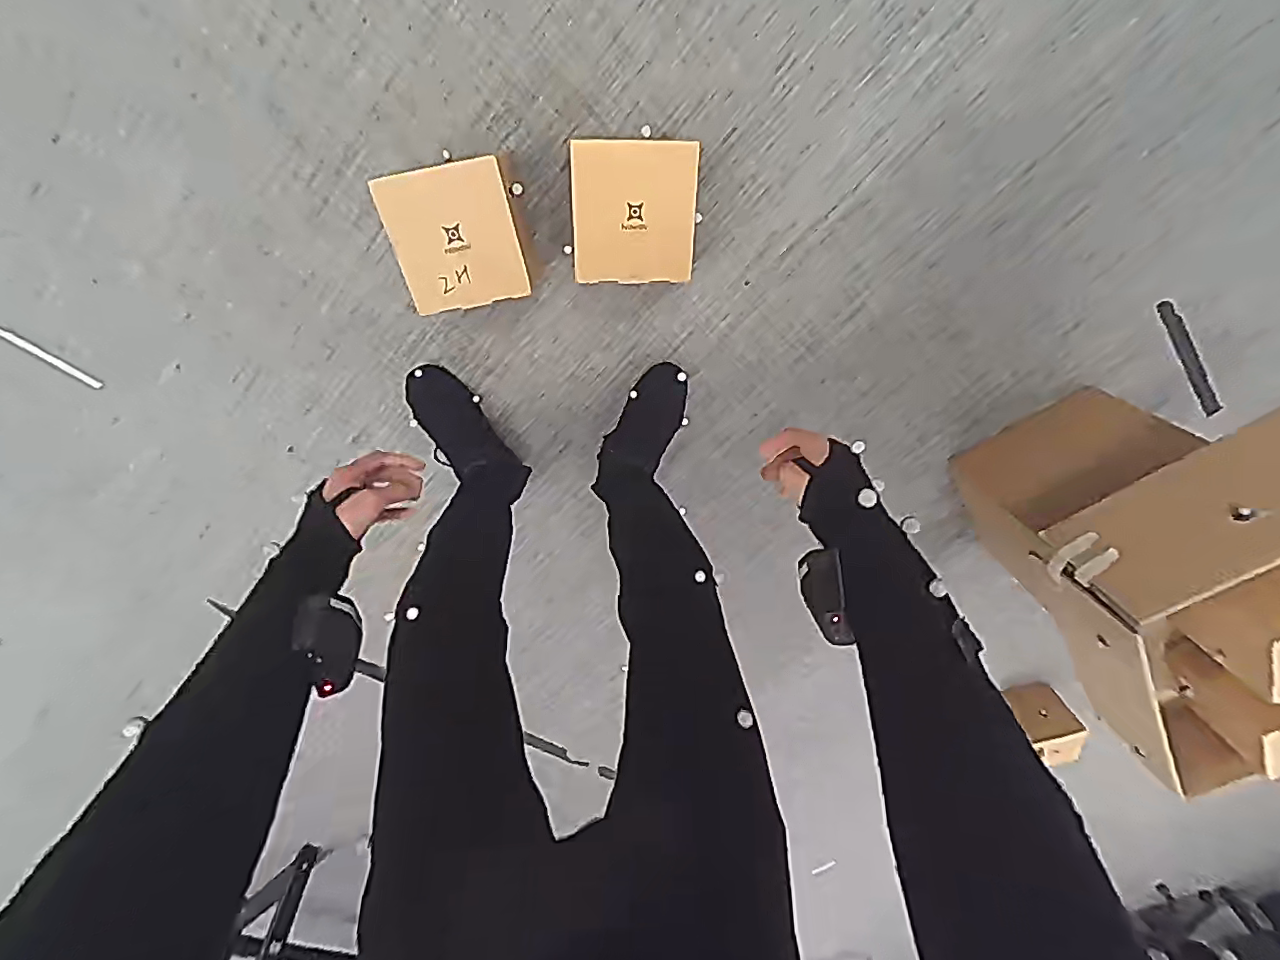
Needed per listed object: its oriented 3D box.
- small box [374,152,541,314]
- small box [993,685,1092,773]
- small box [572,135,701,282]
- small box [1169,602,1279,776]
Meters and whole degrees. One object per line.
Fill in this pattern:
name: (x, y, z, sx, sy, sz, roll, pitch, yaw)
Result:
small box: (-0.248, -0.363, 0.785, 0.168, 0.176, 0.179, -10, 124, 2)
small box: (1.226, 0.762, 1.663, 0.179, 0.176, 0.168, -15, 123, 3)
small box: (-0.013, -0.399, 0.789, 0.168, 0.176, 0.179, -3, 124, -5)
small box: (1.019, 0.329, 0.866, 0.179, 0.176, 0.168, -34, 119, 15)
